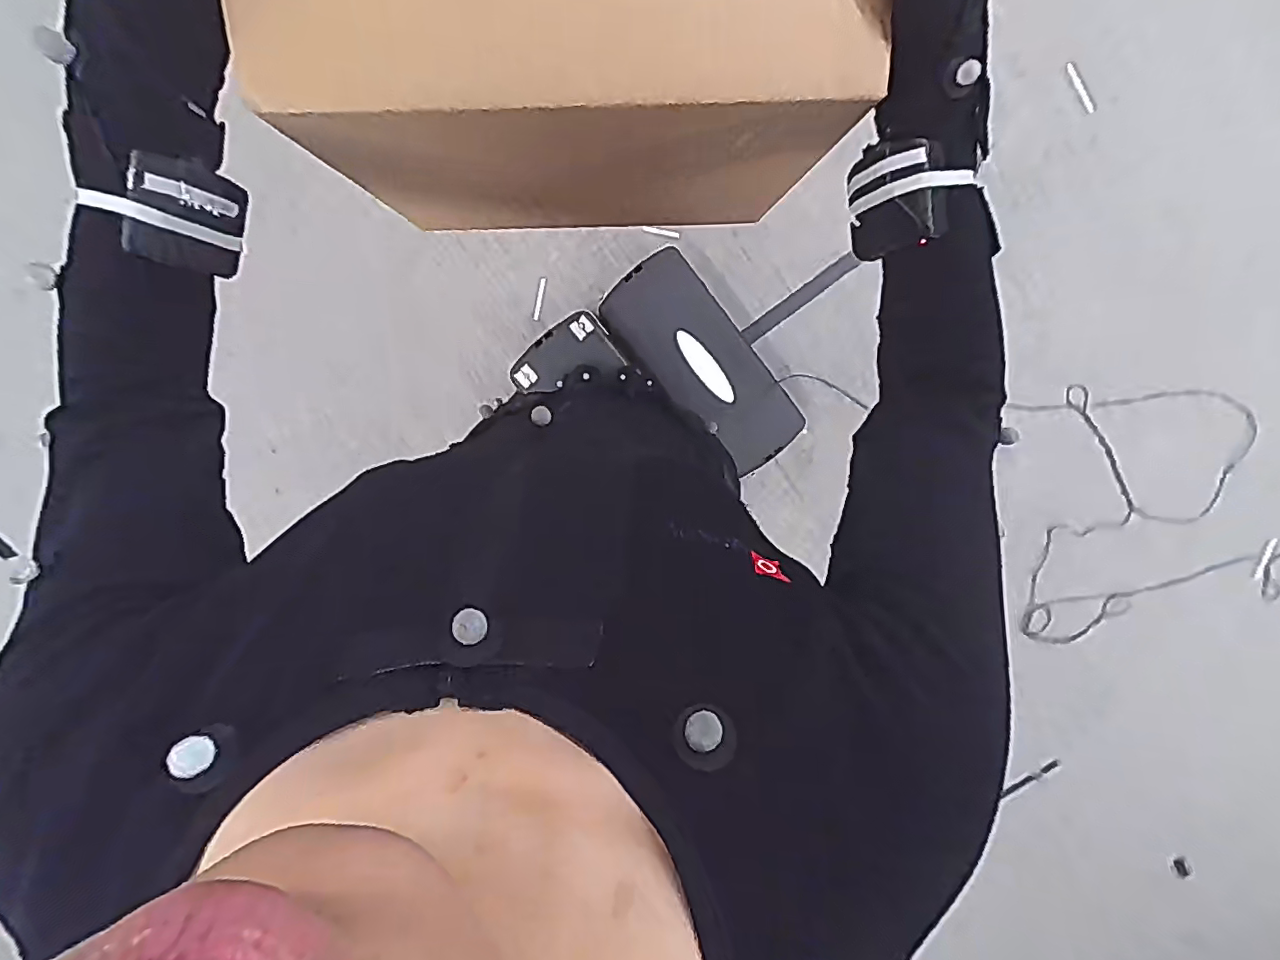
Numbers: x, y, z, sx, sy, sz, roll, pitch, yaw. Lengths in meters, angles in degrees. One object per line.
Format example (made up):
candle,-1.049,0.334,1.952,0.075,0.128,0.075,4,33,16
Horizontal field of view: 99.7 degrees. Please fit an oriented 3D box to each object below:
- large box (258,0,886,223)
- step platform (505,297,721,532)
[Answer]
large box,-0.051,-0.430,0.467,0.408,0.320,0.320,-2,103,-3
step platform,-0.068,-0.178,1.552,0.286,0.204,0.684,-39,98,6
